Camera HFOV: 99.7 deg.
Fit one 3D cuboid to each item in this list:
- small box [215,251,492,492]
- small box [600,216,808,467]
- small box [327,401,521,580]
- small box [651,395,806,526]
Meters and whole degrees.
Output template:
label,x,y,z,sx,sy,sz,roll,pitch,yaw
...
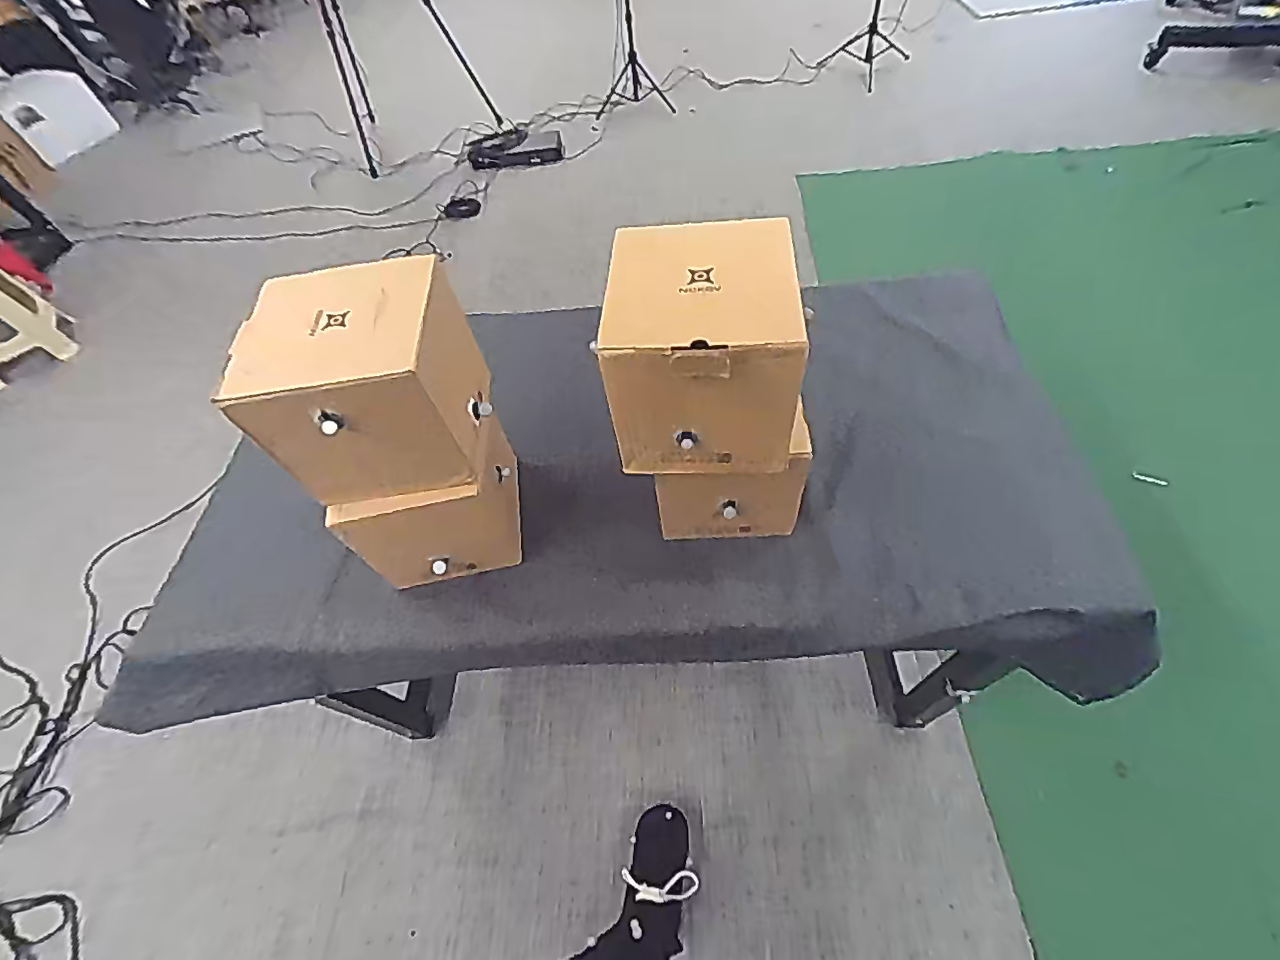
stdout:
label,x,y,z,sx,sy,sz,roll,pitch,yaw
small box,-0.267,-0.102,0.553,0.179,0.176,0.168,-8,57,0
small box,0.061,-0.131,0.534,0.168,0.176,0.179,0,56,7
small box,-0.254,0.002,0.678,0.168,0.176,0.179,-12,56,-1
small box,0.102,-0.051,0.673,0.168,0.176,0.179,-3,56,5
